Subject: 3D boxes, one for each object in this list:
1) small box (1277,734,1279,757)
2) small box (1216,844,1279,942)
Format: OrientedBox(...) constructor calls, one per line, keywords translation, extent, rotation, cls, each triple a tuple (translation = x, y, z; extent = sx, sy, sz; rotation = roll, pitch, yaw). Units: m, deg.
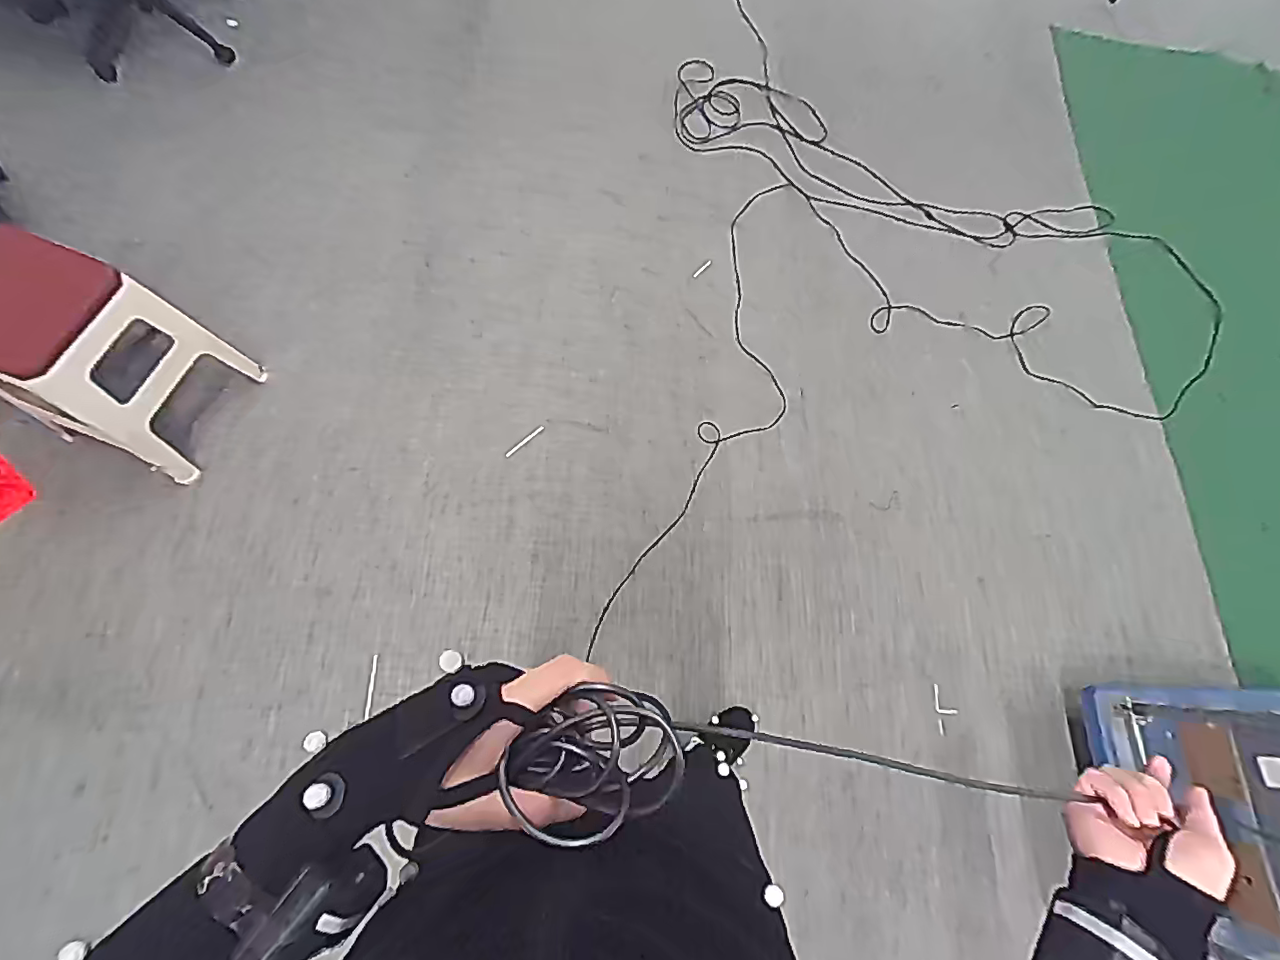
OrientedBox(translation=(1.730, 0.713, 1.315), extent=(0.179, 0.176, 0.168), rotation=(0, 72, -7), cls="small box")
OrientedBox(translation=(1.473, 0.935, 1.210), extent=(0.179, 0.176, 0.168), rotation=(4, 71, -4), cls="small box")
